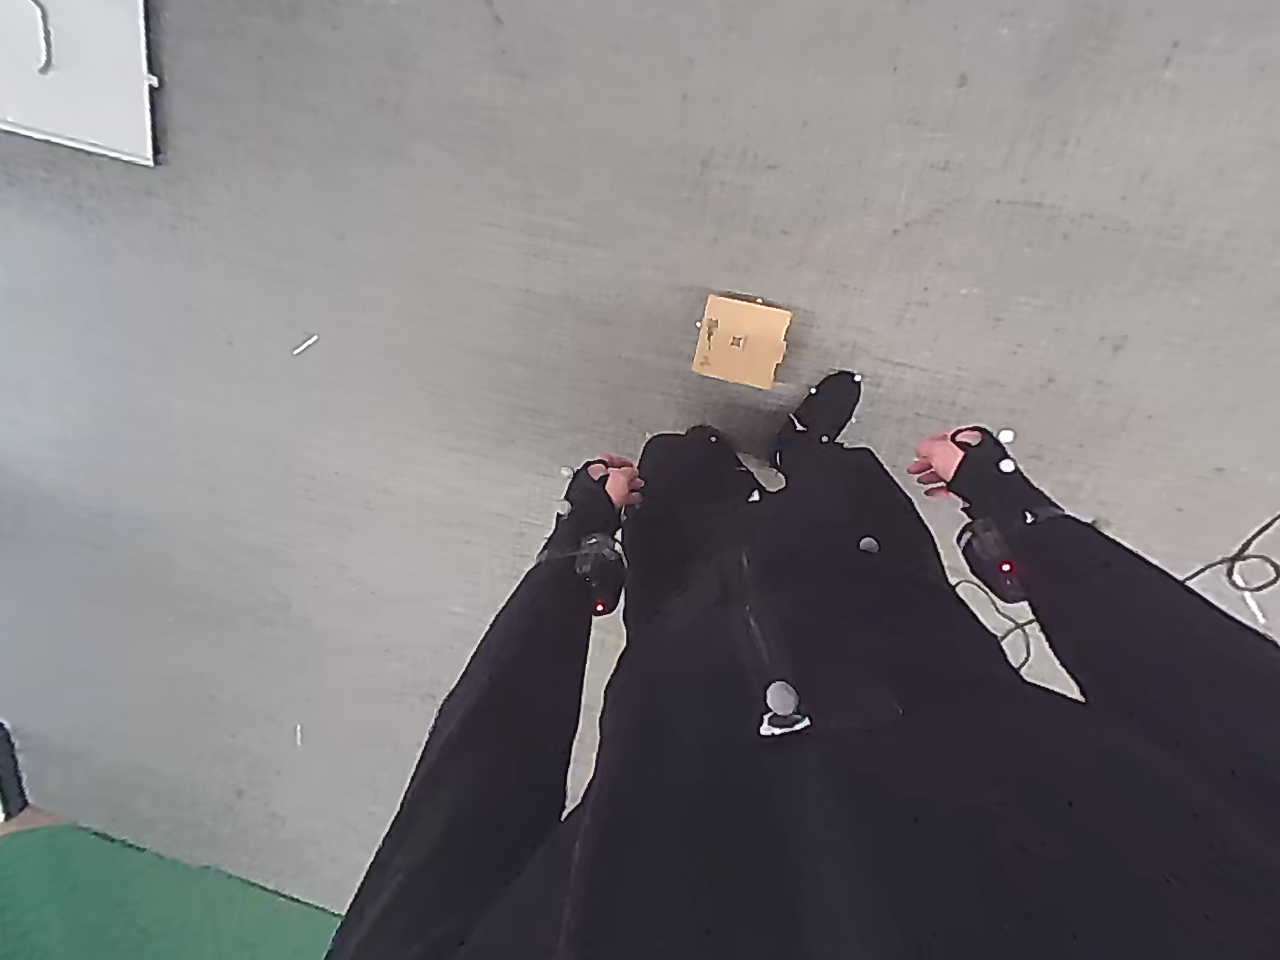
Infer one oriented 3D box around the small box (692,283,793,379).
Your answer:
[{"bbox_3d":[0.225,-0.334,1.200,0.179,0.176,0.168,15,109,7],"label":"small box"}]
